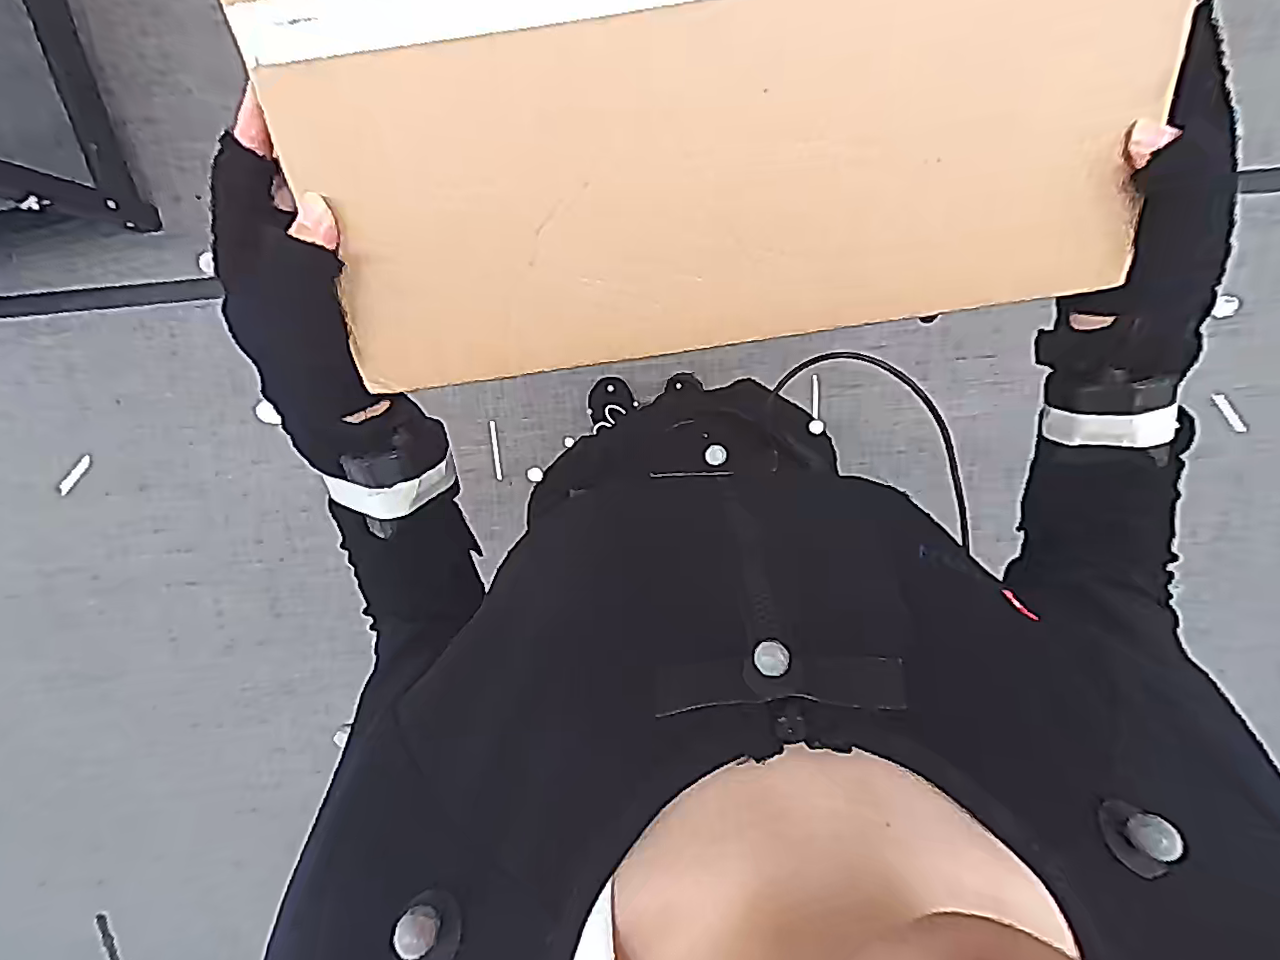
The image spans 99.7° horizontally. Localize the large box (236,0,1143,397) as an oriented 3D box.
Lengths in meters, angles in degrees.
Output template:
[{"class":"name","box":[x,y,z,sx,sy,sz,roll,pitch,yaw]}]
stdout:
[{"class":"large box","box":[0.022,-0.278,0.368,0.408,0.320,0.320,-8,115,1]}]
